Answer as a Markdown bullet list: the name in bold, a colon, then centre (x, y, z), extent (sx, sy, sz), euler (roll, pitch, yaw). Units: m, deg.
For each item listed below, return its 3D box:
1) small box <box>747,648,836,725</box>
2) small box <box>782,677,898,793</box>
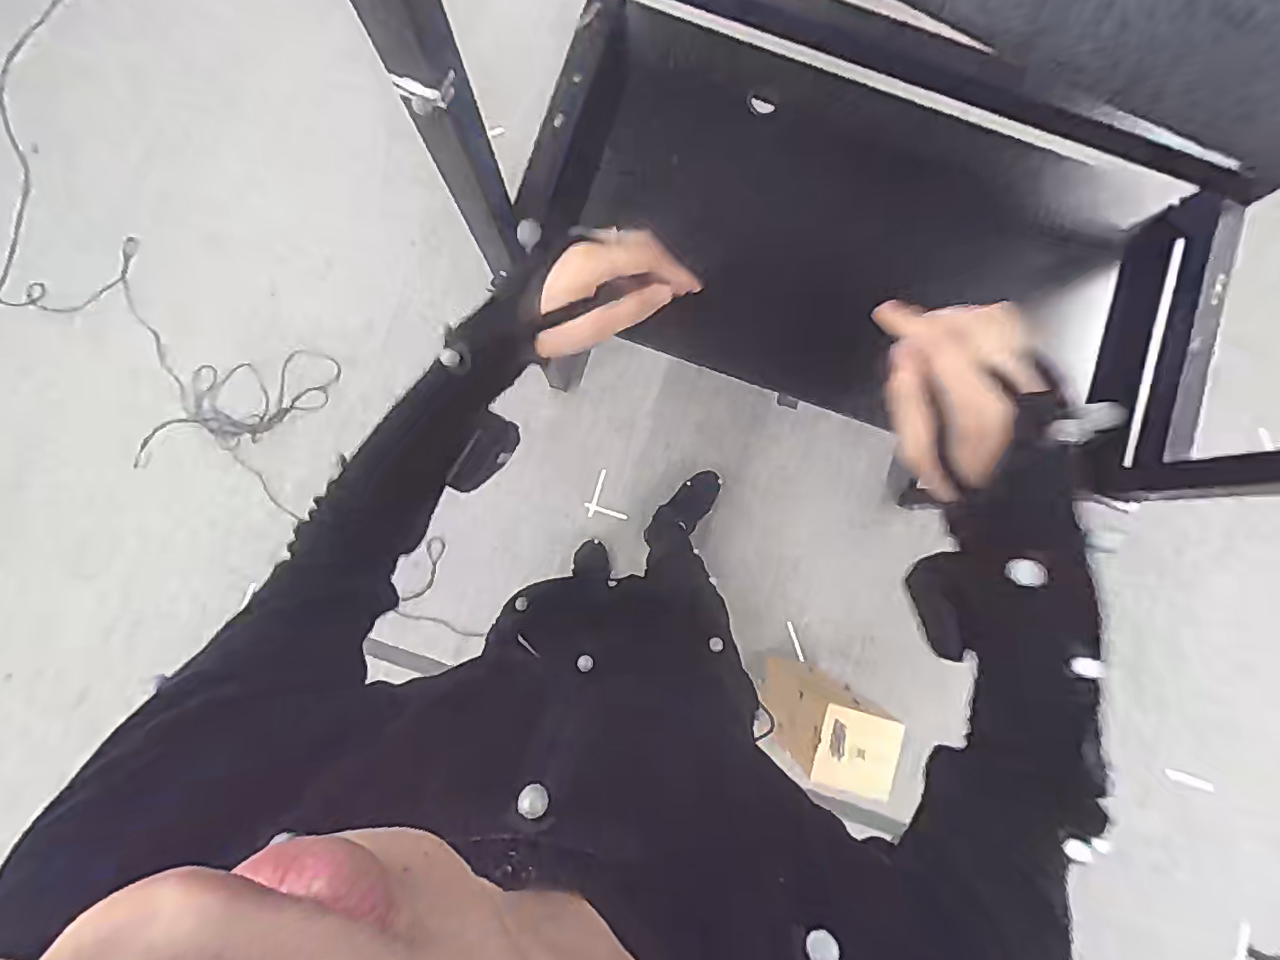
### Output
- **small box**: centre (0.428, 0.597, 1.548), extent (0.179, 0.176, 0.168), euler (18, 85, -1)
- **small box**: centre (0.441, 0.564, 1.221), extent (0.179, 0.176, 0.168), euler (17, 86, -2)
